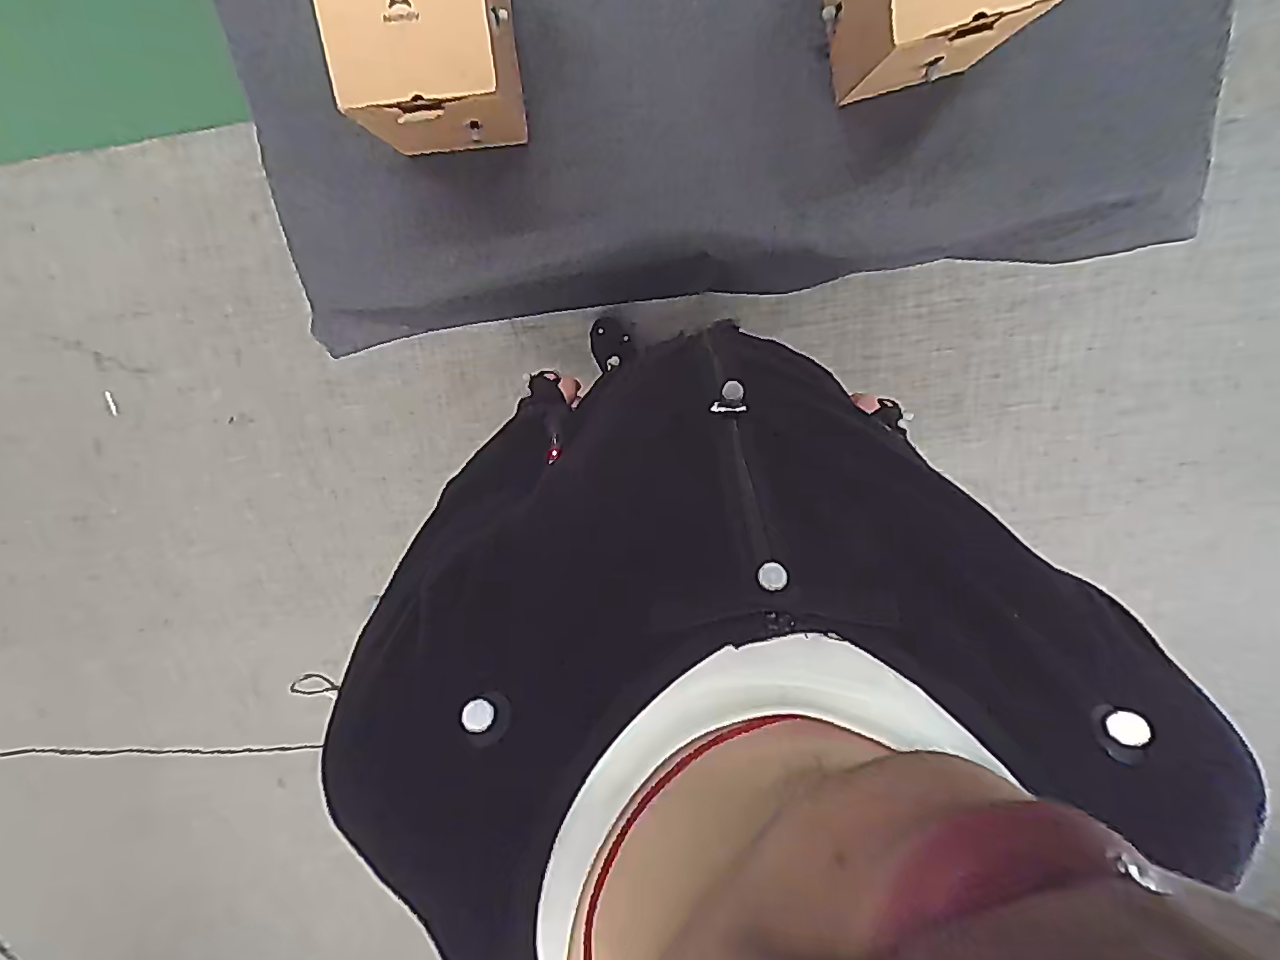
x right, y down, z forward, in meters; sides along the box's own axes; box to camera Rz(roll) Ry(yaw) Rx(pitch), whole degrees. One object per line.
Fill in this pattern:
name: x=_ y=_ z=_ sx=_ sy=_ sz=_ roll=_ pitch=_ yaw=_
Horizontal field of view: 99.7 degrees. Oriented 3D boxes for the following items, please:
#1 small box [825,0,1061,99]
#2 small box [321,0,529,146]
small box: x=0.309 y=-0.542 z=0.578 sx=0.168 sy=0.176 sz=0.179 roll=-13 pitch=108 yaw=4
small box: x=-0.226 y=-0.489 z=0.596 sx=0.168 sy=0.176 sz=0.179 roll=-5 pitch=106 yaw=0
